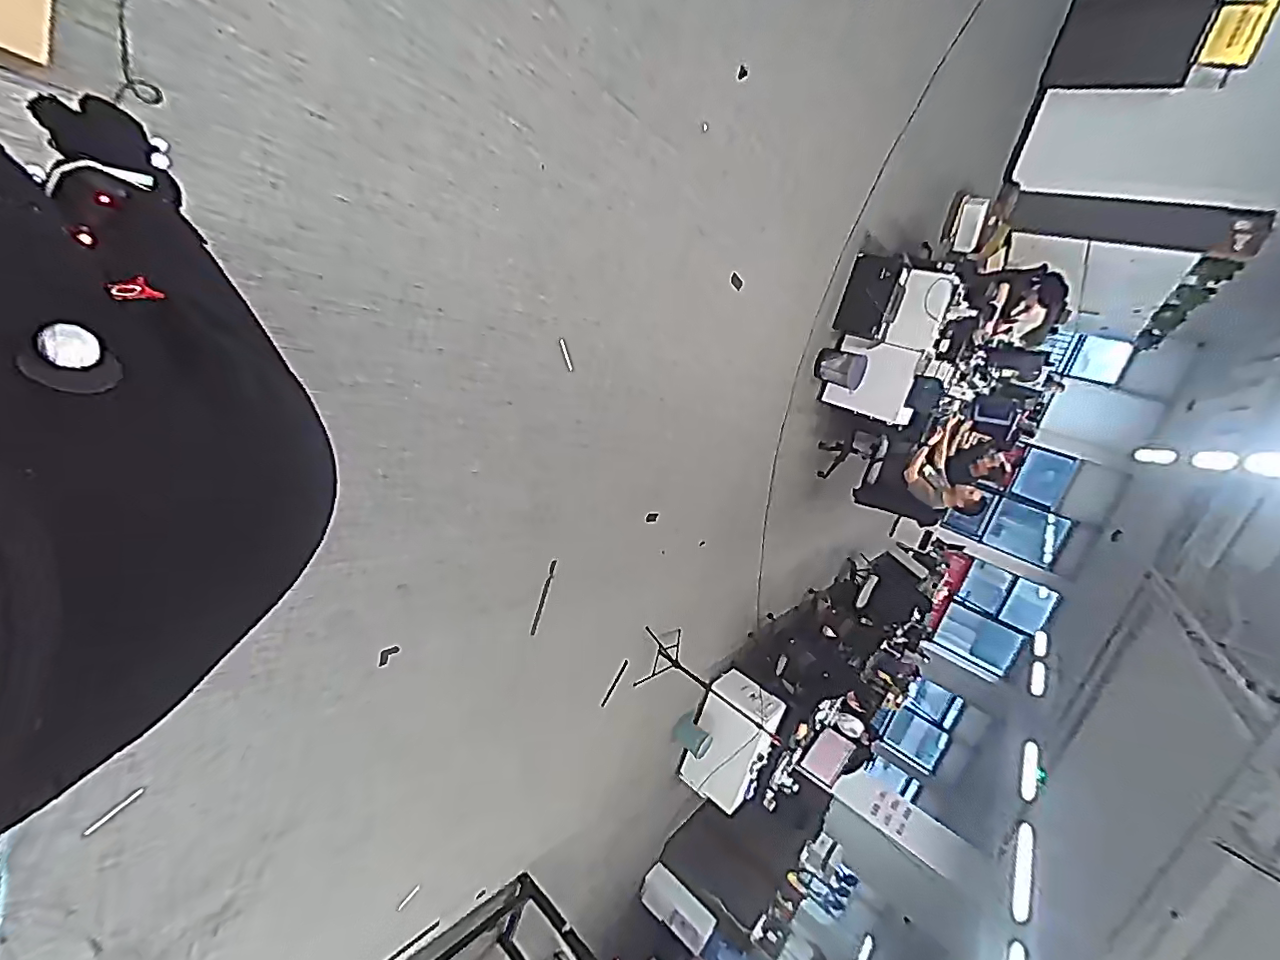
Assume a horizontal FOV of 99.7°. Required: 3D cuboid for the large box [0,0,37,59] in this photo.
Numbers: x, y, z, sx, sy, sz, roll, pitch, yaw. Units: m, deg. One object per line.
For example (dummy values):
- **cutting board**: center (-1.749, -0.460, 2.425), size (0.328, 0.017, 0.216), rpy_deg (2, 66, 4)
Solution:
- **large box**: center (-0.989, -0.758, 0.606), size (0.408, 0.320, 0.320), rpy_deg (0, 112, -54)
